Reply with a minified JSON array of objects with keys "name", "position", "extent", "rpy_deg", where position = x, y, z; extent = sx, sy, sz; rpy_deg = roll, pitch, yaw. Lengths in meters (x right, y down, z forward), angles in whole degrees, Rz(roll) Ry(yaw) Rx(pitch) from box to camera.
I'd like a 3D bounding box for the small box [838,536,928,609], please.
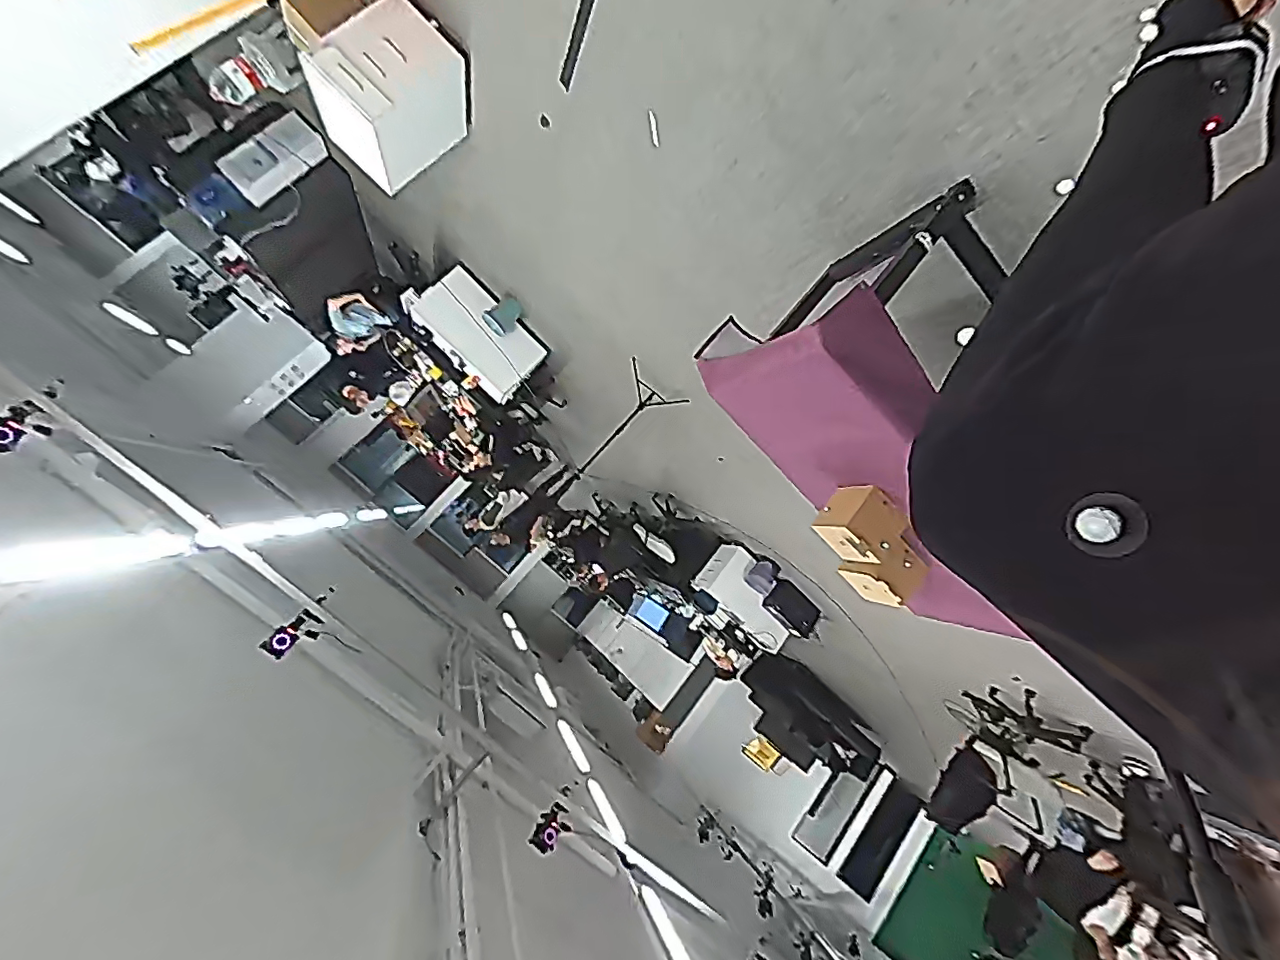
[{"name":"small box","position":[0.809,0.302,1.799],"extent":[0.168,0.176,0.179],"rpy_deg":[44,164,-11]}]
